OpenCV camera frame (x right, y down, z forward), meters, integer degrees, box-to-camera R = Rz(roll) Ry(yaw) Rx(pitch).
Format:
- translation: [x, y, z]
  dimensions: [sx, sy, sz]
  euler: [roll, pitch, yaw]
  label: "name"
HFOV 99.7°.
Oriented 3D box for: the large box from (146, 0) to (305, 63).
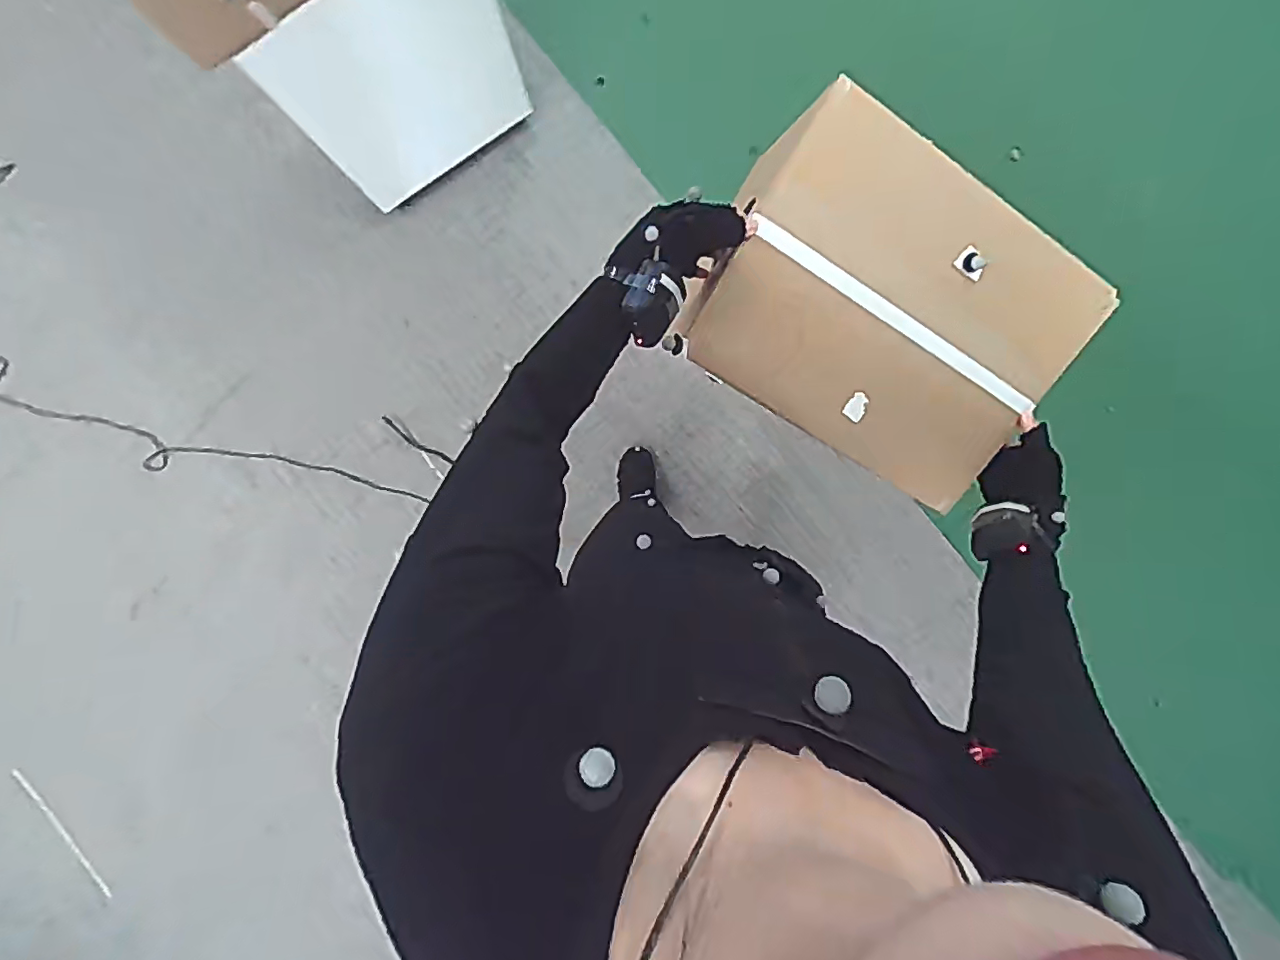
- translation: [-0.762, -0.988, 0.828]
  dimensions: [0.320, 0.320, 0.408]
  euler: [-35, 86, 1]
  label: "large box"
